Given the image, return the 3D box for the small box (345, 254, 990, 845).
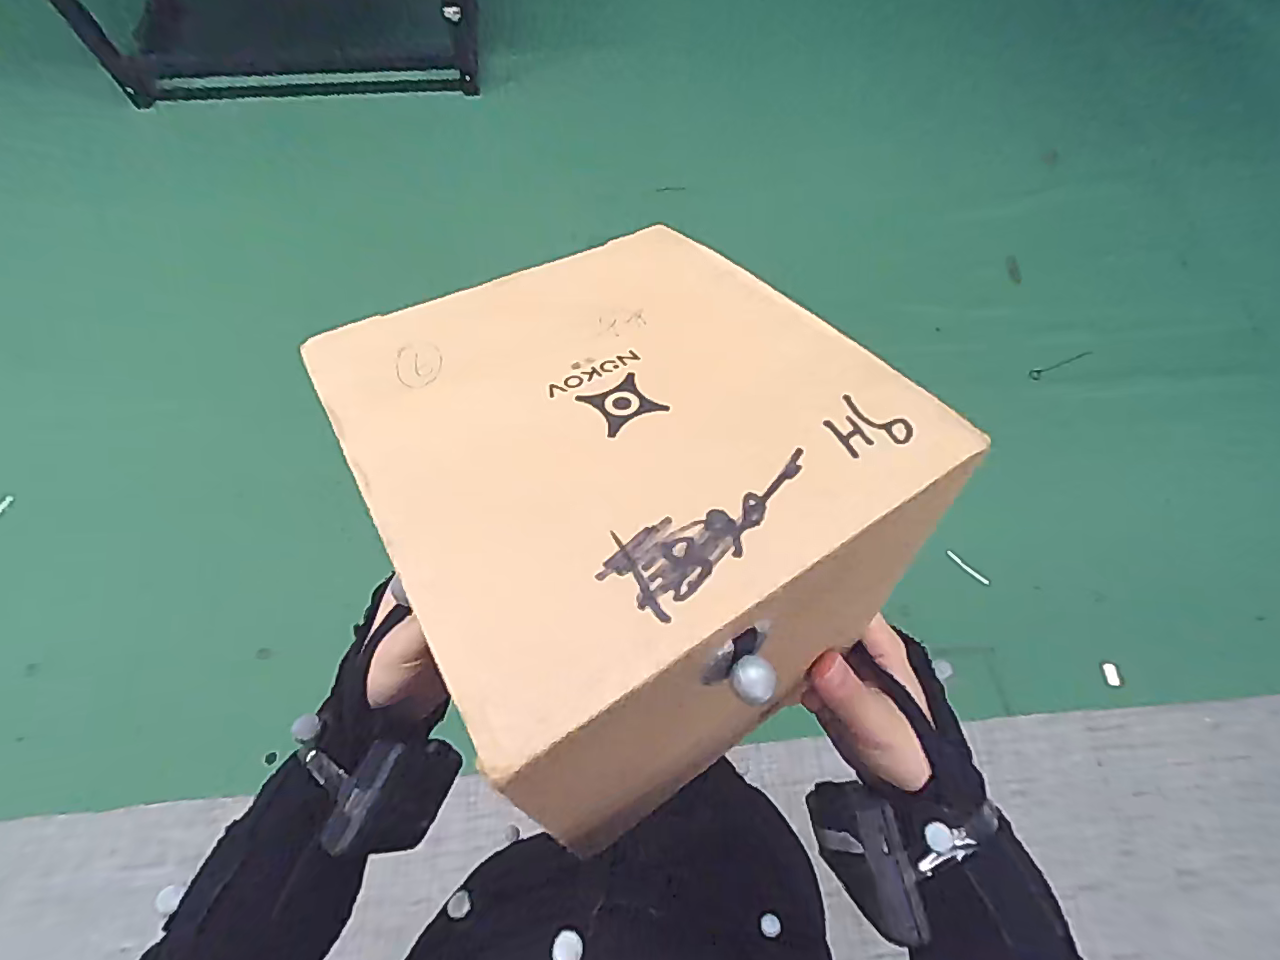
[{"bbox_3d":[0.001,0.029,0.252,0.168,0.176,0.179,-29,55,-19],"label":"small box"}]
